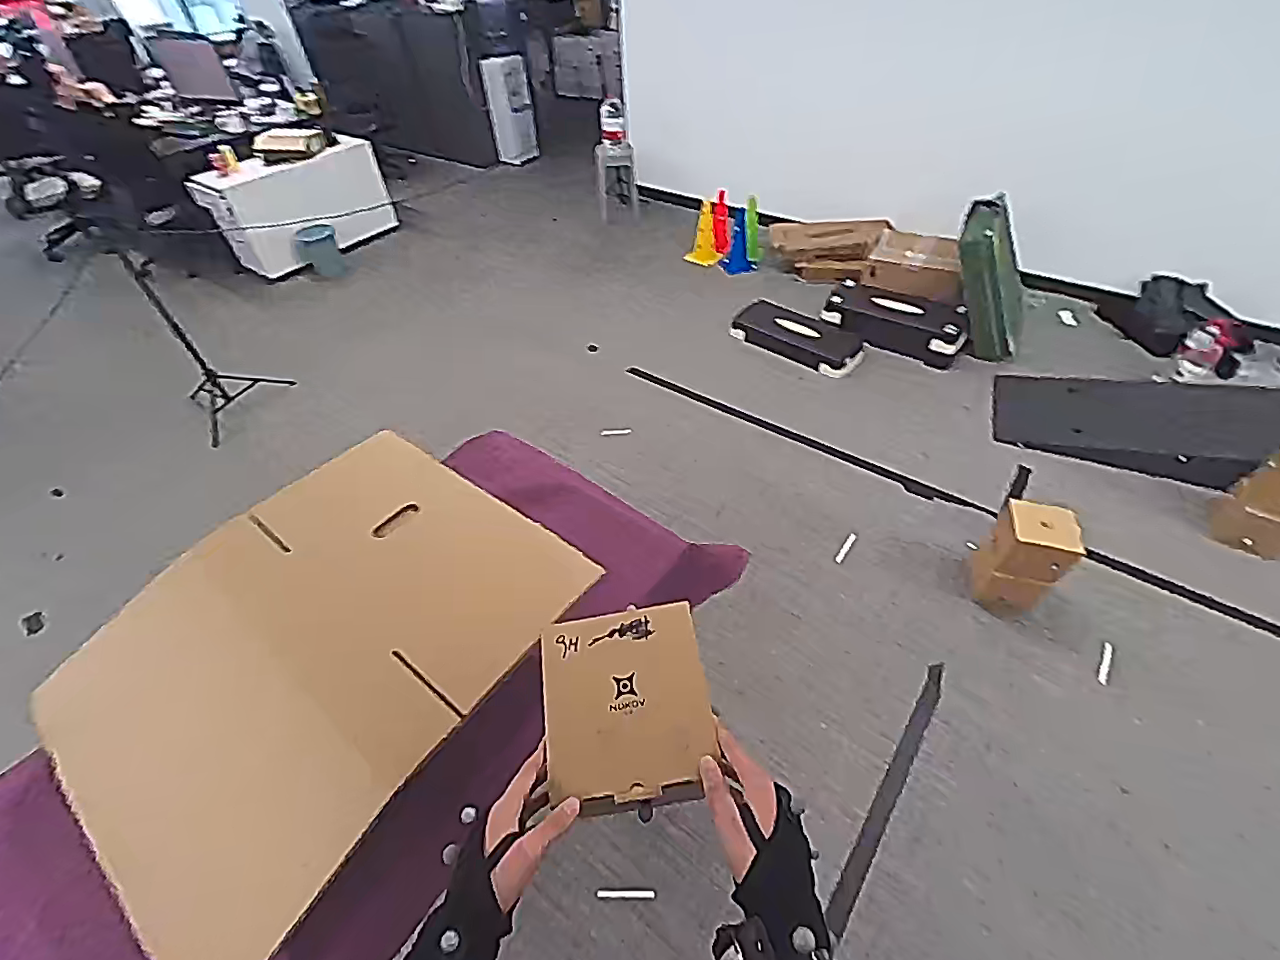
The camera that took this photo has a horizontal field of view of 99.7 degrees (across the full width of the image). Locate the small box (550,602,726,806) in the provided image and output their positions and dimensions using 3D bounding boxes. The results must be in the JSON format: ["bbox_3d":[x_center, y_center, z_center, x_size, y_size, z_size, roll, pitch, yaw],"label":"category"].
[{"bbox_3d":[-0.001,0.260,0.614,0.168,0.176,0.179,-9,56,-1],"label":"small box"}]
